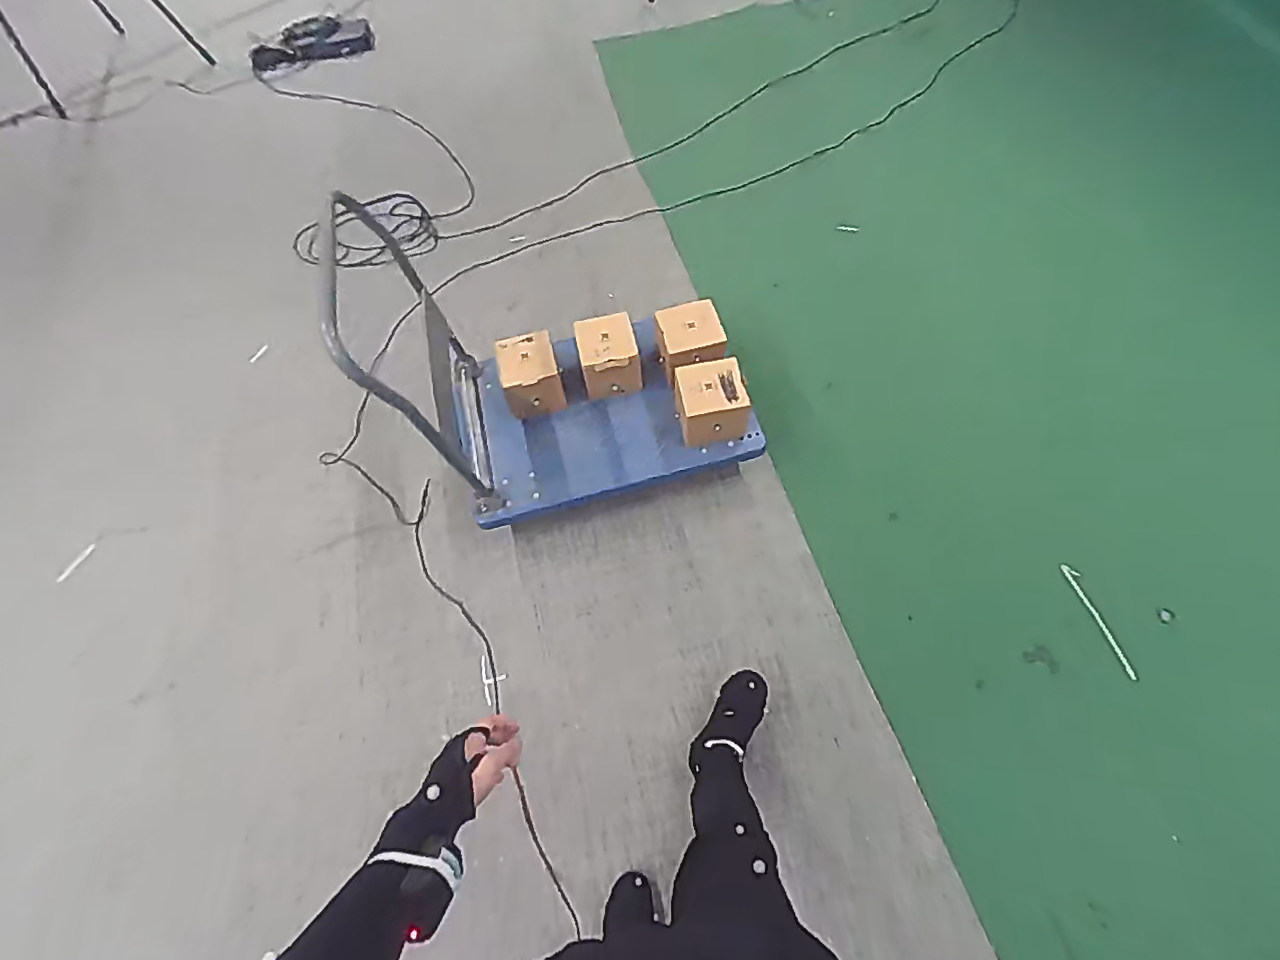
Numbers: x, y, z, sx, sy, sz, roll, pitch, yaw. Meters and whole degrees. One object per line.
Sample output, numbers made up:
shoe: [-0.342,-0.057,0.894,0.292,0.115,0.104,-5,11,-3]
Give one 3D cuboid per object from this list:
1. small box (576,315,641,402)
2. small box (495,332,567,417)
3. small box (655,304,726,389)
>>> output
small box: [-0.093,-0.362,1.628,0.168,0.176,0.179,-11,64,-2]
small box: [-0.322,-0.306,1.612,0.168,0.176,0.179,-13,64,-4]
small box: [0.150,-0.396,1.632,0.179,0.176,0.168,-13,64,-3]
